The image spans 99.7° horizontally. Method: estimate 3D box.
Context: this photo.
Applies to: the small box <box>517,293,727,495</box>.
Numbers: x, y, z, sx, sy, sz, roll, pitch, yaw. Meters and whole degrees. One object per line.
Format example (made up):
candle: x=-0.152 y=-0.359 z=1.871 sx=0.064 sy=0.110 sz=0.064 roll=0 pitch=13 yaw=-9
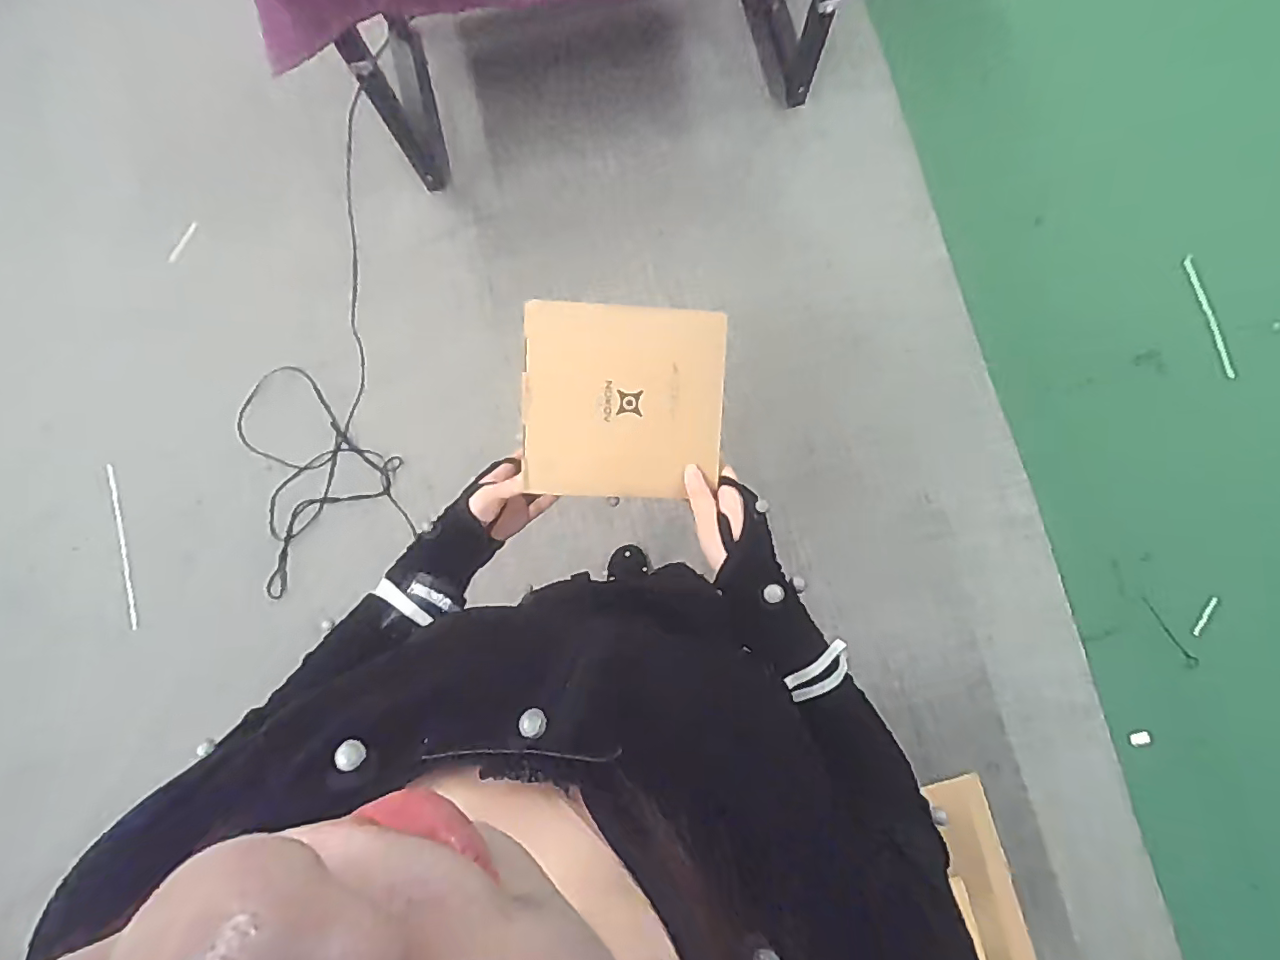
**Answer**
small box: x=-0.023 y=-0.079 z=0.545 sx=0.179 sy=0.176 sz=0.168 roll=3 pitch=96 yaw=-6
